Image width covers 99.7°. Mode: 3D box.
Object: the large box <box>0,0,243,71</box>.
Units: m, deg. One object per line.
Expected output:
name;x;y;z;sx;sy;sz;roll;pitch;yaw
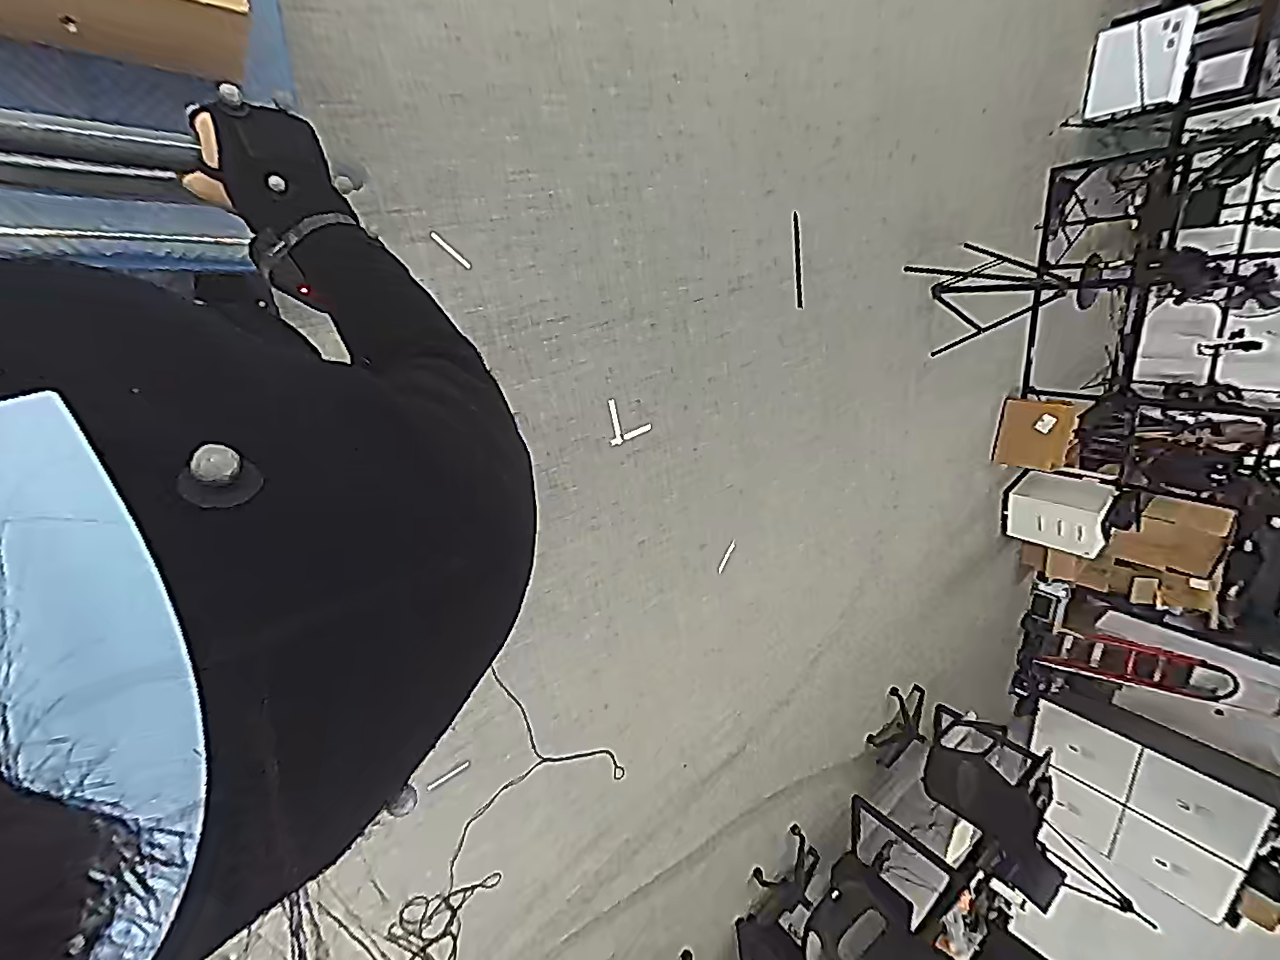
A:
large box;-0.787;-0.789;0.691;0.408;0.320;0.320;-12;111;-34
